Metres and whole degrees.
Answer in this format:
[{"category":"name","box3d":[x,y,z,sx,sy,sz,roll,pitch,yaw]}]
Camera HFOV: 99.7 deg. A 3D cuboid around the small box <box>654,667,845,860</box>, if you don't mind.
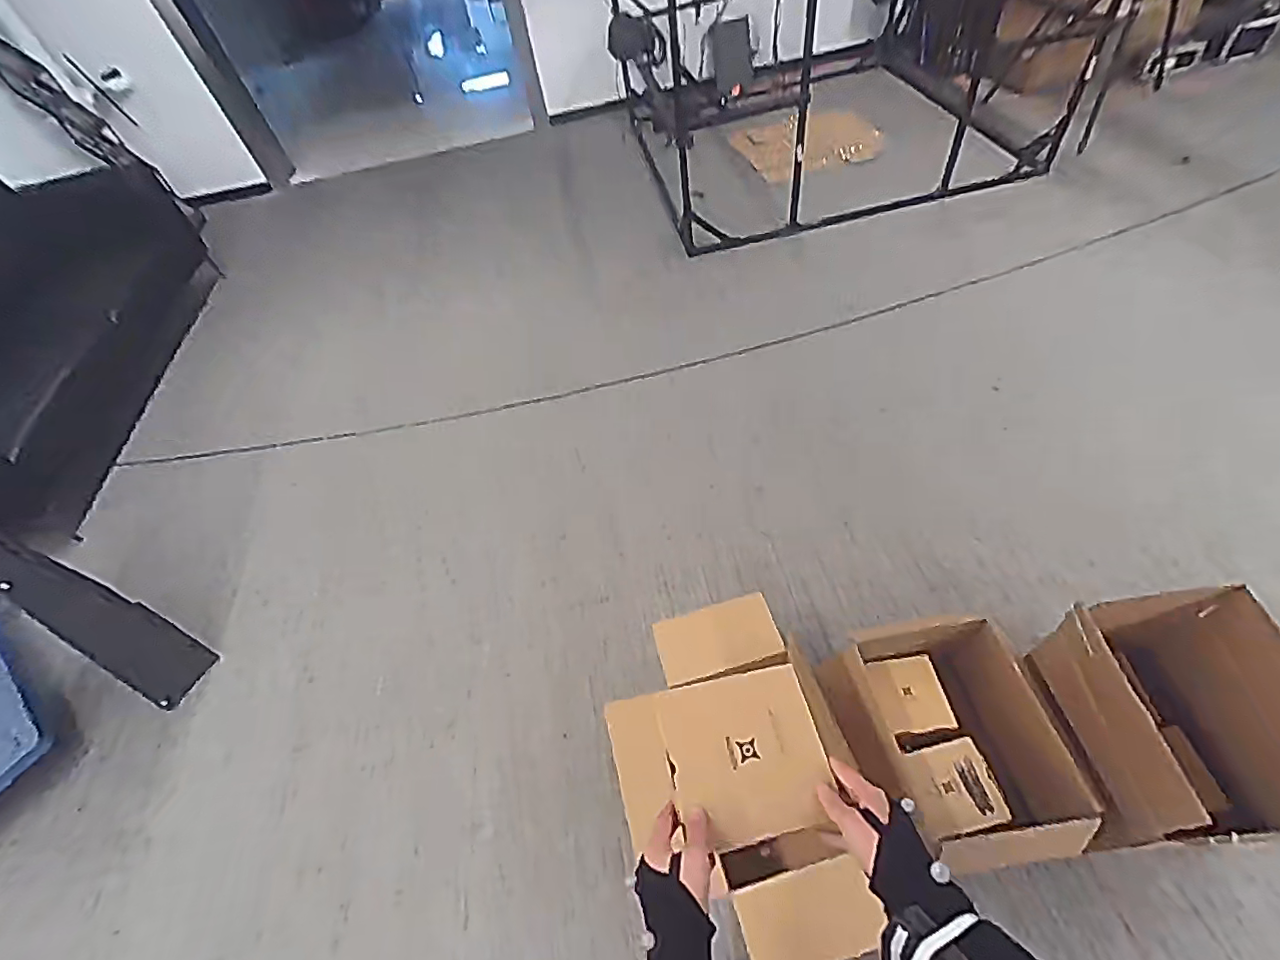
[{"category":"small box","box3d":[0.125,0.354,0.665,0.179,0.176,0.168,-13,54,-1]}]
